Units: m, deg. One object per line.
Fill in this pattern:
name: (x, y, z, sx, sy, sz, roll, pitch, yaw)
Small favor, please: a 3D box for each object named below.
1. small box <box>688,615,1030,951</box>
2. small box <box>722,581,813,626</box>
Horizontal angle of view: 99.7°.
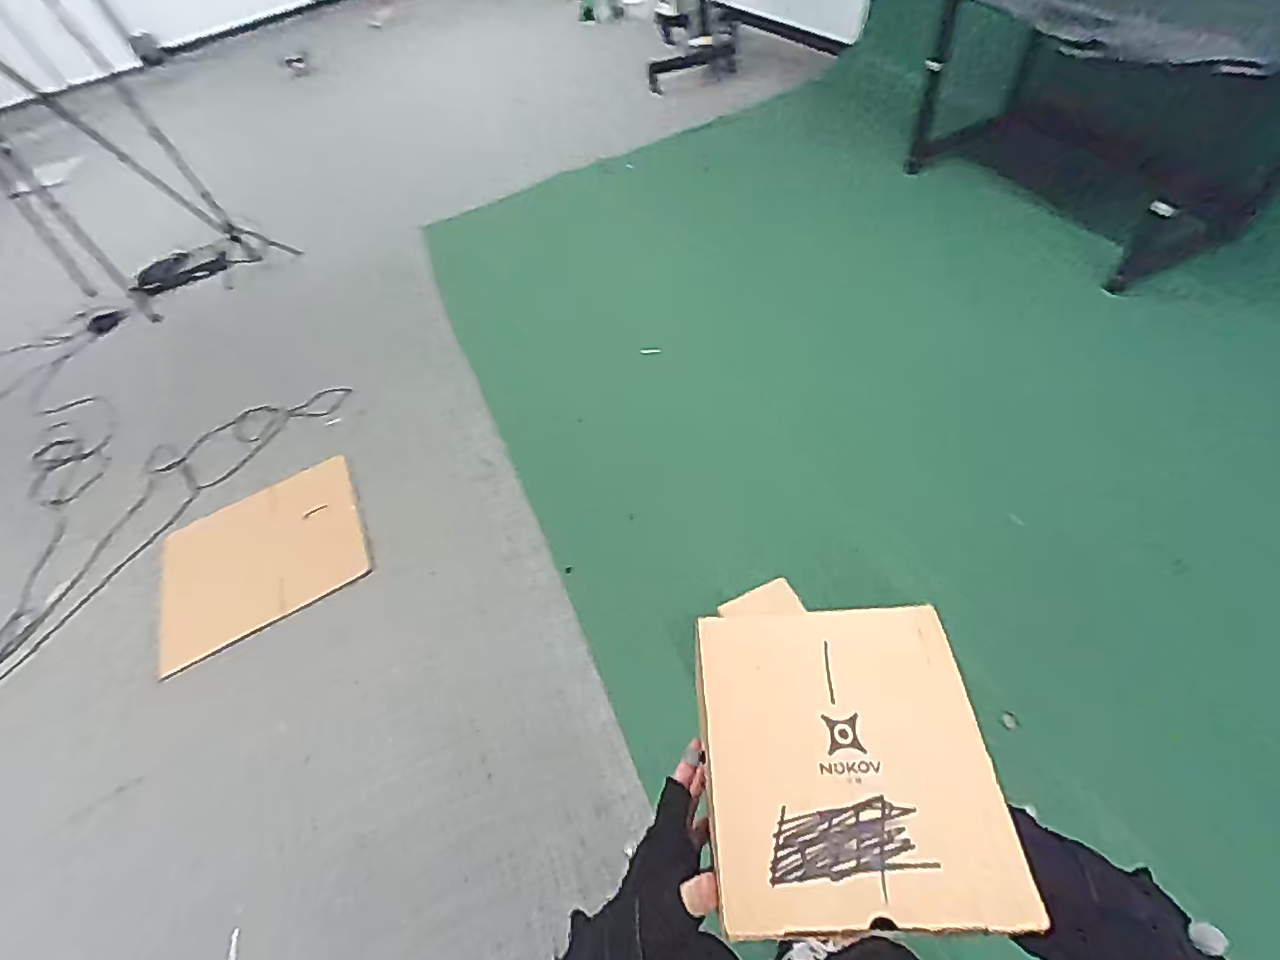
small box: (0.126, 0.215, 0.392, 0.168, 0.176, 0.179, -5, 54, 3)
small box: (0.297, 0.364, 1.211, 0.168, 0.176, 0.179, -23, 52, -6)
